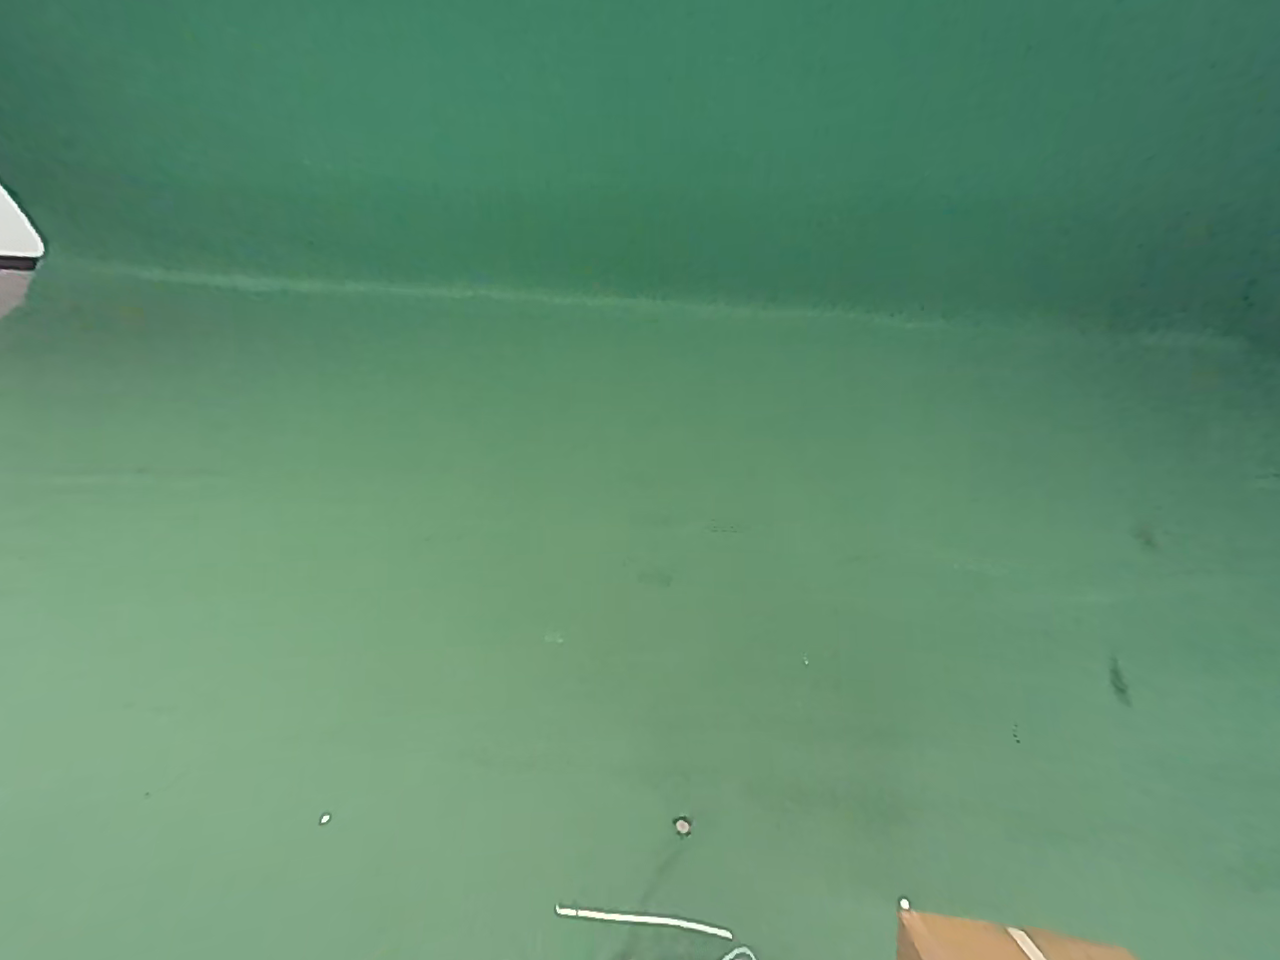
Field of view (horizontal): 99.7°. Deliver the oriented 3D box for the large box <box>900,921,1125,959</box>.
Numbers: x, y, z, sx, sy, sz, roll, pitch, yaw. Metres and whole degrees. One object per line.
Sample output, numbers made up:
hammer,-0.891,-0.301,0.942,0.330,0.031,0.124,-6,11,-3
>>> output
large box,0.501,0.791,0.571,0.320,0.408,0.320,6,85,7
